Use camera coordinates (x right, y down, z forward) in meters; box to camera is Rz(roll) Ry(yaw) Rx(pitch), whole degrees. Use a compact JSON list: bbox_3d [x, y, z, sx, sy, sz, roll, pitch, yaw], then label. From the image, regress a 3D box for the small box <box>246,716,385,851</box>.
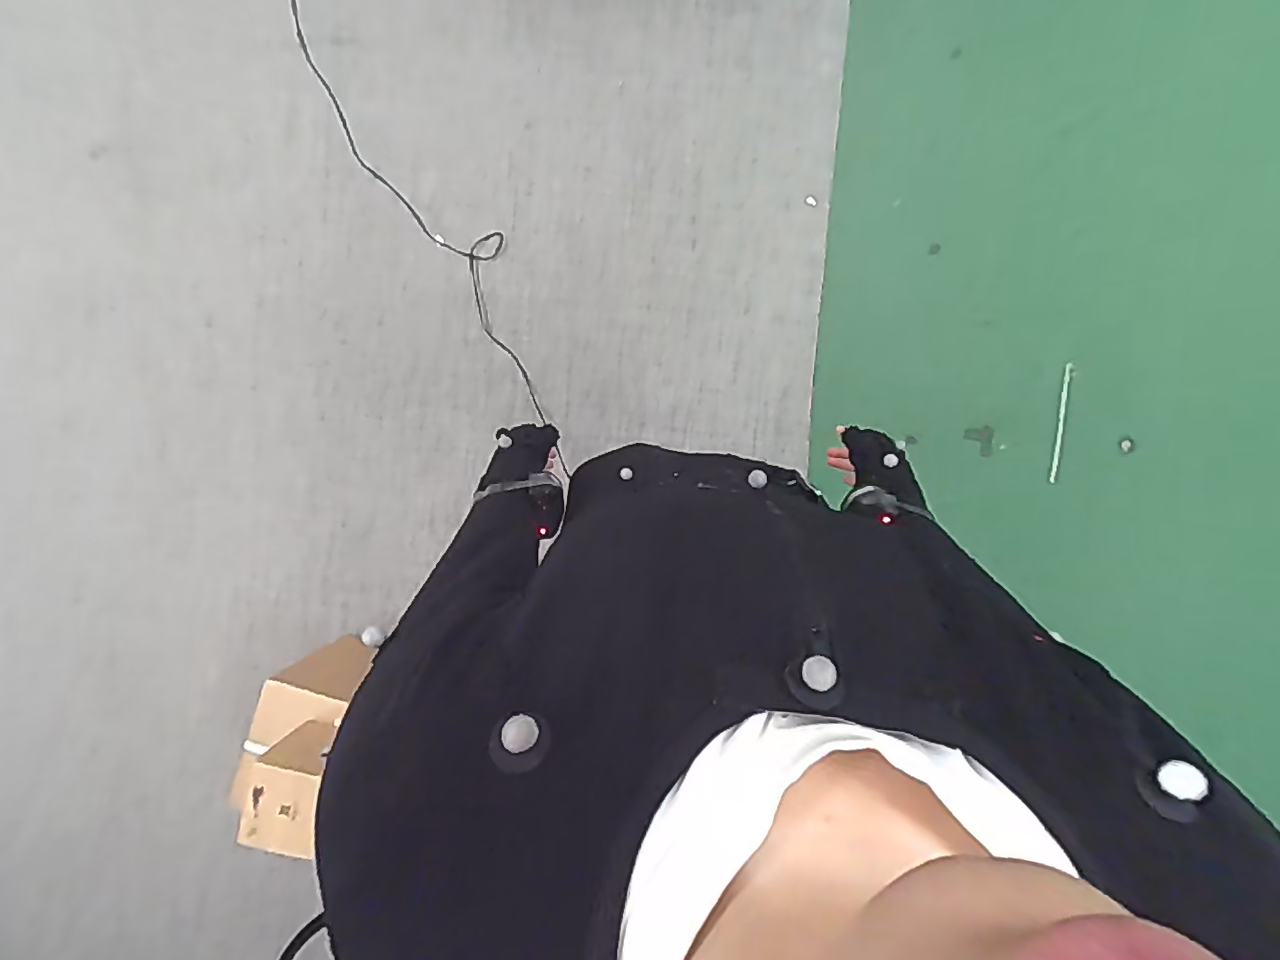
[{"bbox_3d":[-0.657,0.614,1.115,0.179,0.176,0.168,12,92,0],"label":"small box"}]
